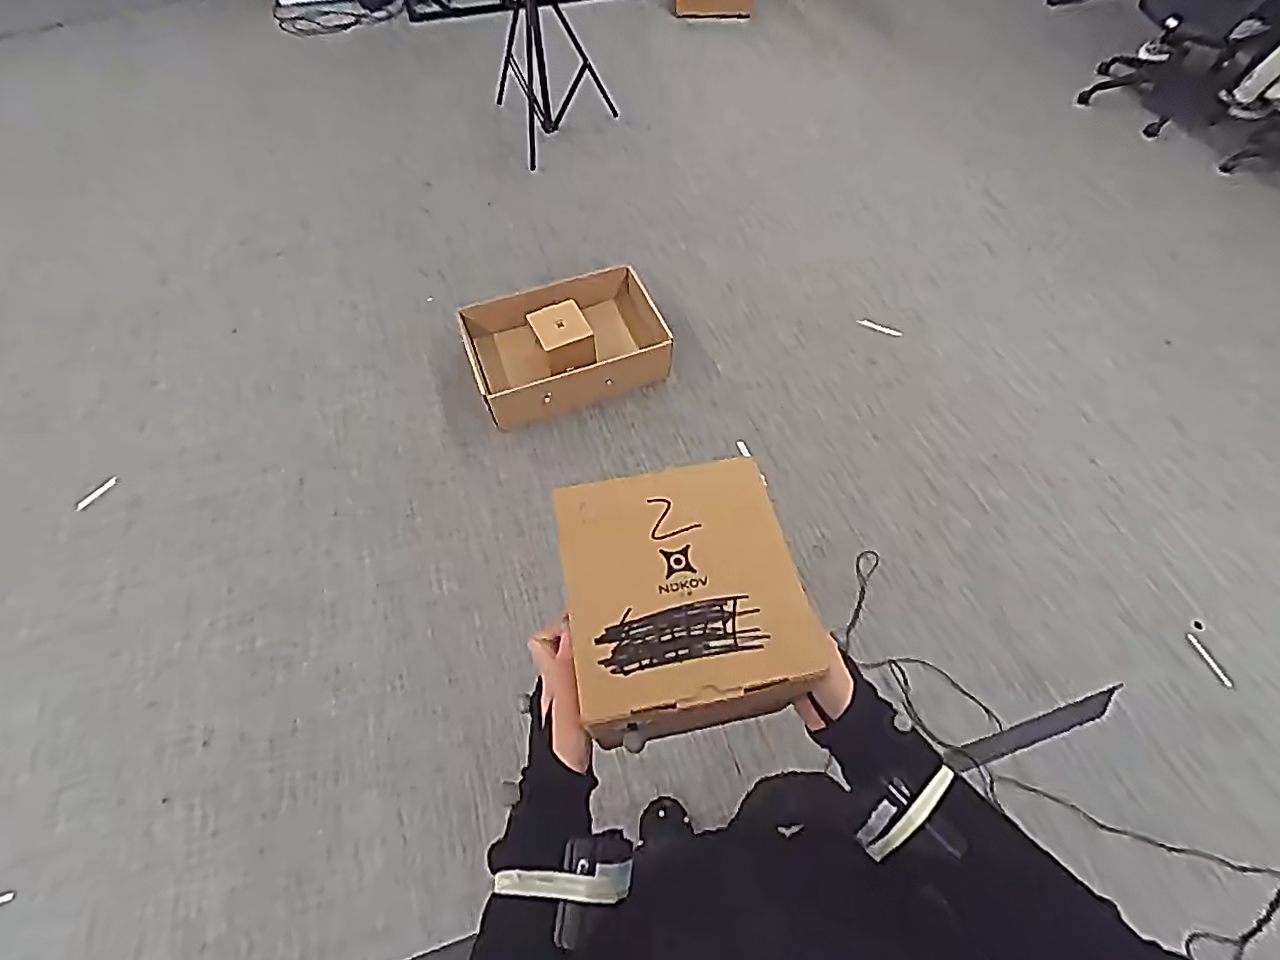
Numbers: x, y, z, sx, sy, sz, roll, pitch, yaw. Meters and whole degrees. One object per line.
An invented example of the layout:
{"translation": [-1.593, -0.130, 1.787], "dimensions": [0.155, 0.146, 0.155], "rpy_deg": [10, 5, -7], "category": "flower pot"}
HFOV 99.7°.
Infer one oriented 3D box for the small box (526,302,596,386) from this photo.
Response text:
{"translation": [-0.256, -0.443, 1.773], "dimensions": [0.168, 0.176, 0.179], "rpy_deg": [-24, 64, -13], "category": "small box"}
